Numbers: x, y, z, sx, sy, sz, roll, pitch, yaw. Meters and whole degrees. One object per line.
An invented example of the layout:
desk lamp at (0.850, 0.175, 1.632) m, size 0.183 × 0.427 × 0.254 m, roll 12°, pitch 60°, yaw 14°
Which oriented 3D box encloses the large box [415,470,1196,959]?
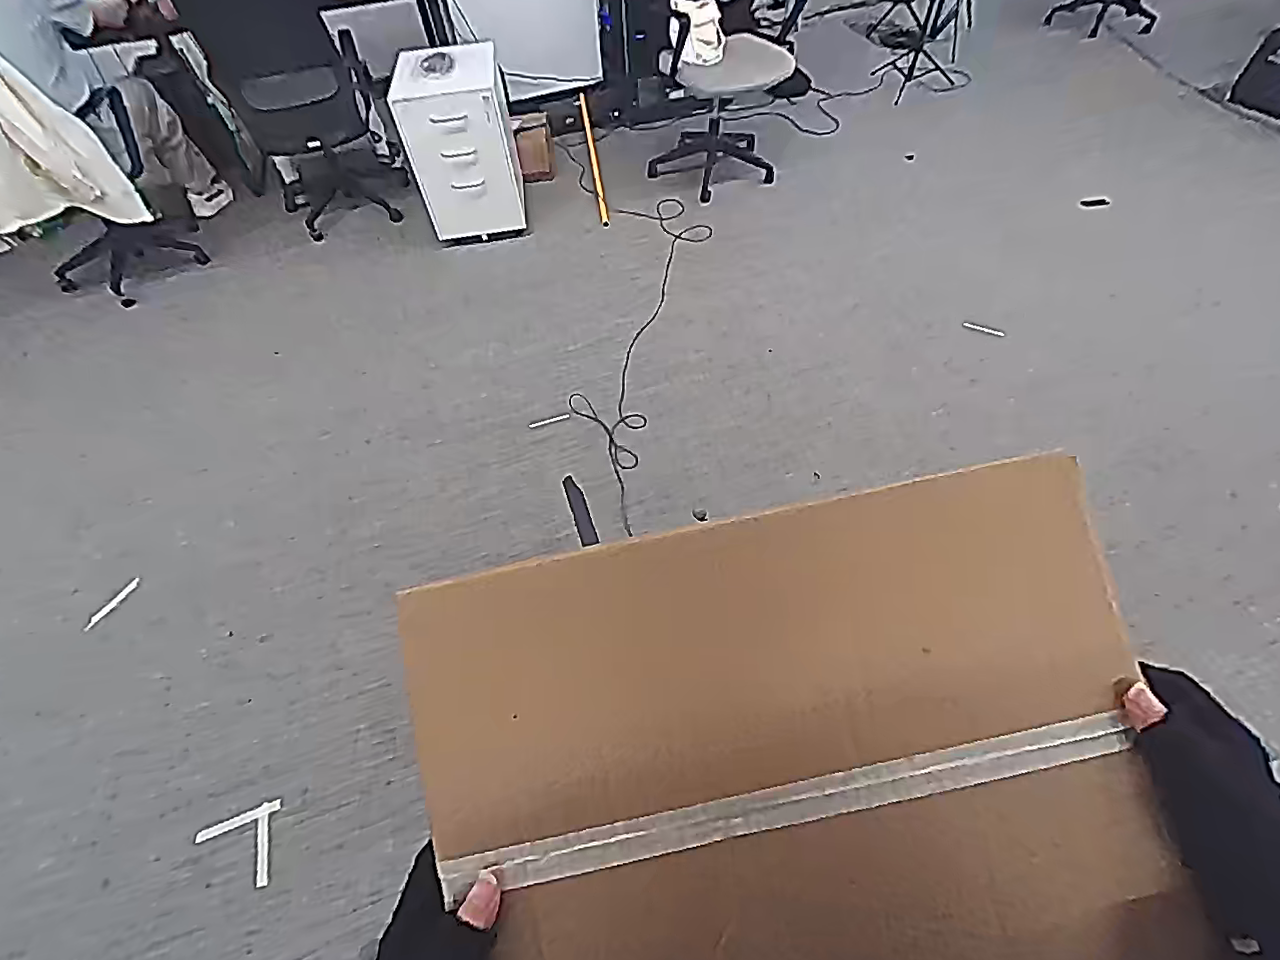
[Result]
large box at (0.093, 0.197, 0.460) m, size 0.408 × 0.320 × 0.320 m, roll -13°, pitch 84°, yaw -1°
